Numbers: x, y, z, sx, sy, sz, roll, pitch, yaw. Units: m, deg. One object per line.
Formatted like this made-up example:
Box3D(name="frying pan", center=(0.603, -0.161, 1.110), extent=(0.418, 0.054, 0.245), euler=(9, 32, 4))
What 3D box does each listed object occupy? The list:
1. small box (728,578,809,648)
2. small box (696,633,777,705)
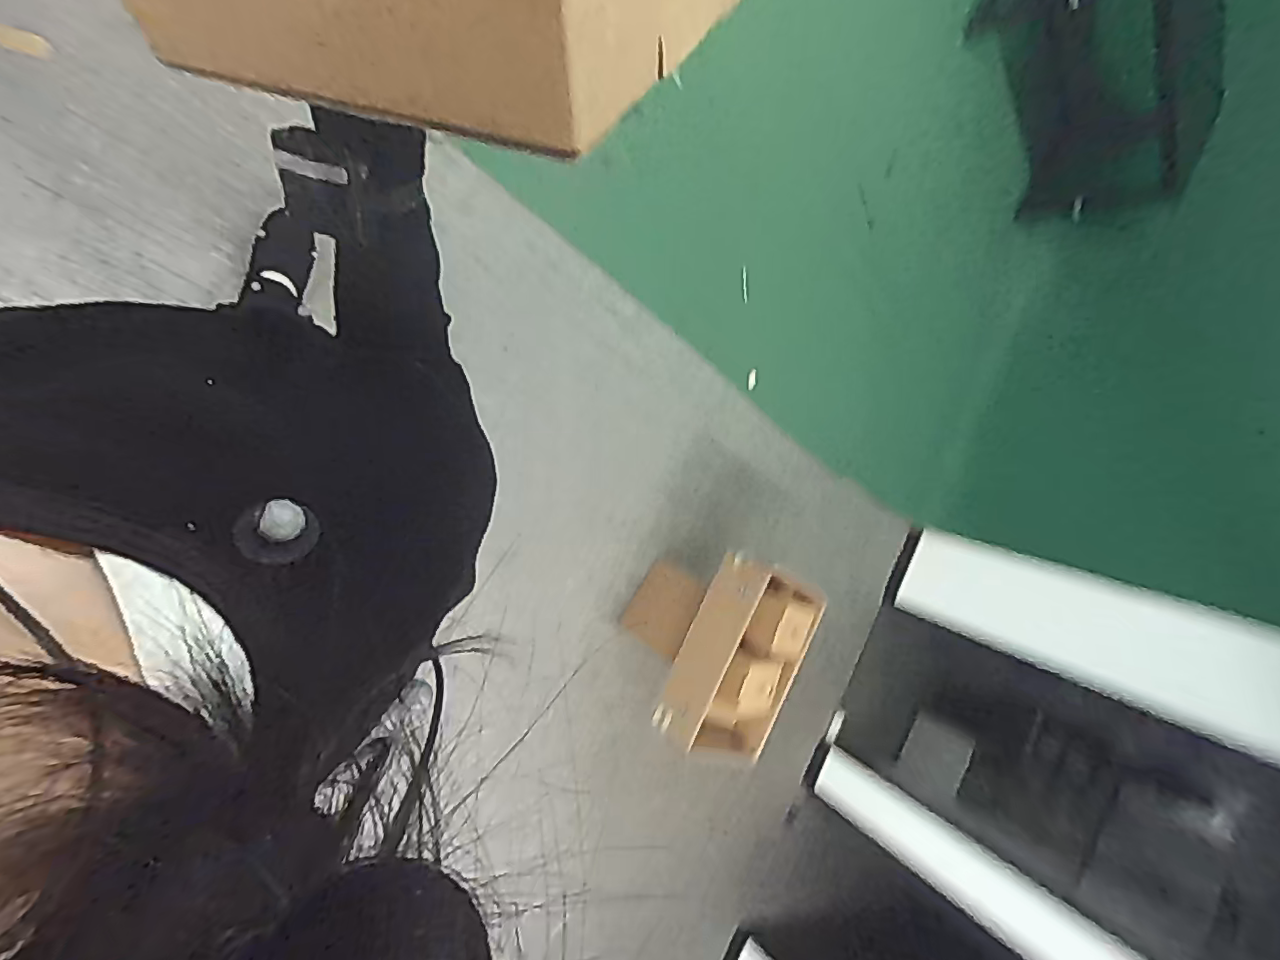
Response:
Box3D(name="small box", center=(0.428, 0.444, 1.814), extent=(0.179, 0.176, 0.168), euler=(25, 86, -41))
Box3D(name="small box", center=(0.312, 0.614, 1.771), extent=(0.179, 0.176, 0.168), euler=(15, 93, -40))
